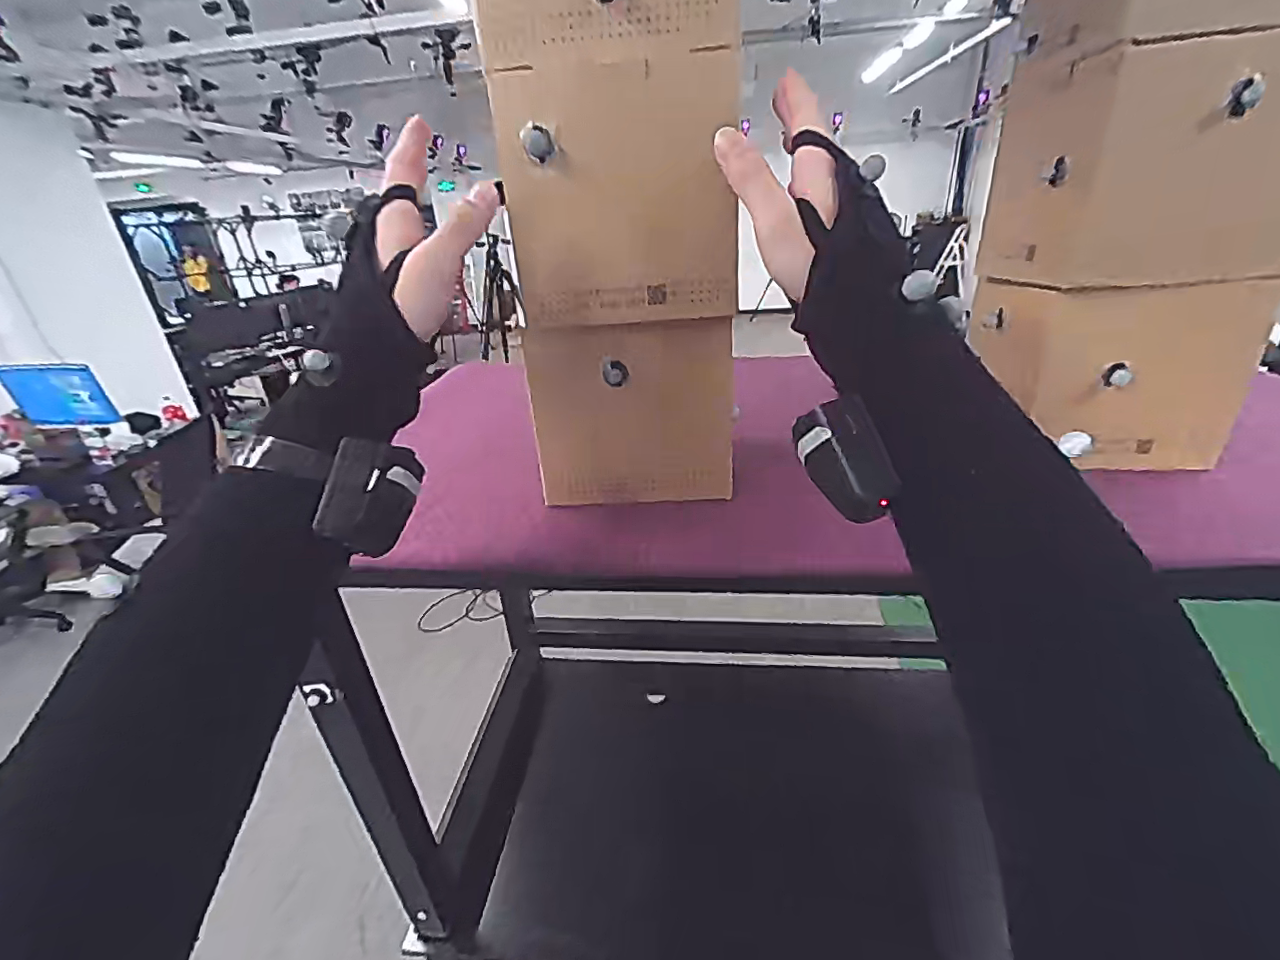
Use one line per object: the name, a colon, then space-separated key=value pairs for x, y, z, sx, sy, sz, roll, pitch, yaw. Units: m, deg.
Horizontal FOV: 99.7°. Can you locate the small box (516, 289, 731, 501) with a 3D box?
small box: x=-0.005 y=-0.087 z=0.535 sx=0.179 sy=0.176 sz=0.168 roll=-3 pitch=26 yaw=3

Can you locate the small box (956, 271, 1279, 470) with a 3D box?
small box: x=0.441 y=-0.116 z=0.537 sx=0.168 sy=0.176 sz=0.179 roll=1 pitch=25 yaw=10

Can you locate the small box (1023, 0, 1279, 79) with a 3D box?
small box: x=0.421 y=-0.413 z=0.402 sx=0.179 sy=0.176 sz=0.168 roll=0 pitch=26 yaw=8

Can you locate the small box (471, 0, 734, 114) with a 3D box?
small box: x=-0.023 y=-0.384 z=0.397 sx=0.179 sy=0.176 sz=0.168 roll=-2 pitch=24 yaw=3

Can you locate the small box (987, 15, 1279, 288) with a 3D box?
small box: x=0.427 y=-0.261 z=0.461 sx=0.179 sy=0.176 sz=0.168 roll=-1 pitch=25 yaw=7
